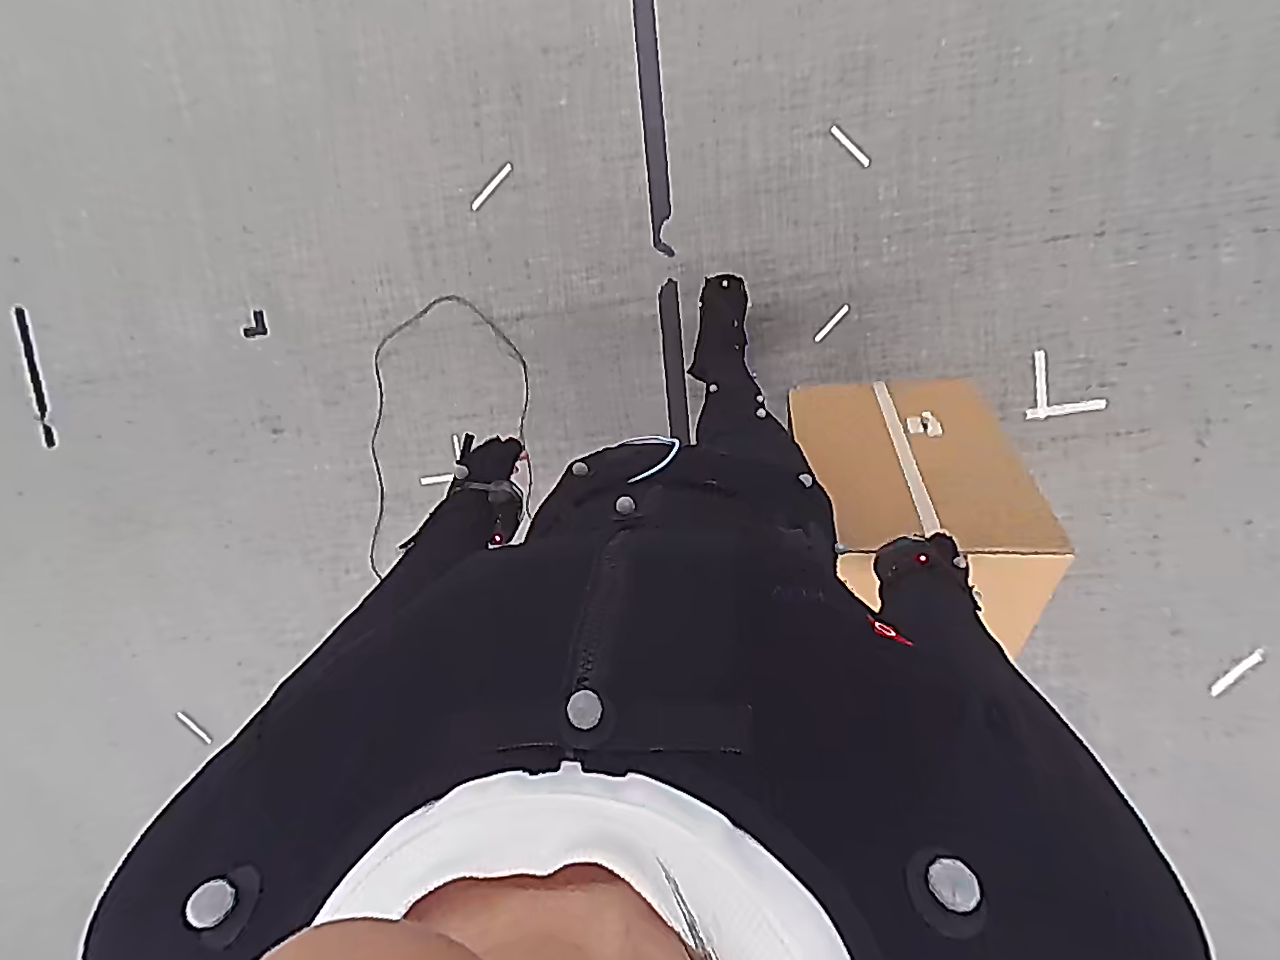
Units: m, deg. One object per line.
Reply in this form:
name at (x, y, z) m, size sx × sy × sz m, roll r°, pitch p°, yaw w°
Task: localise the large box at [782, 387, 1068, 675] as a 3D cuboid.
large box at (0.424, 0.077, 0.935) m, size 0.320 × 0.408 × 0.320 m, roll 0°, pitch 129°, yaw 9°
